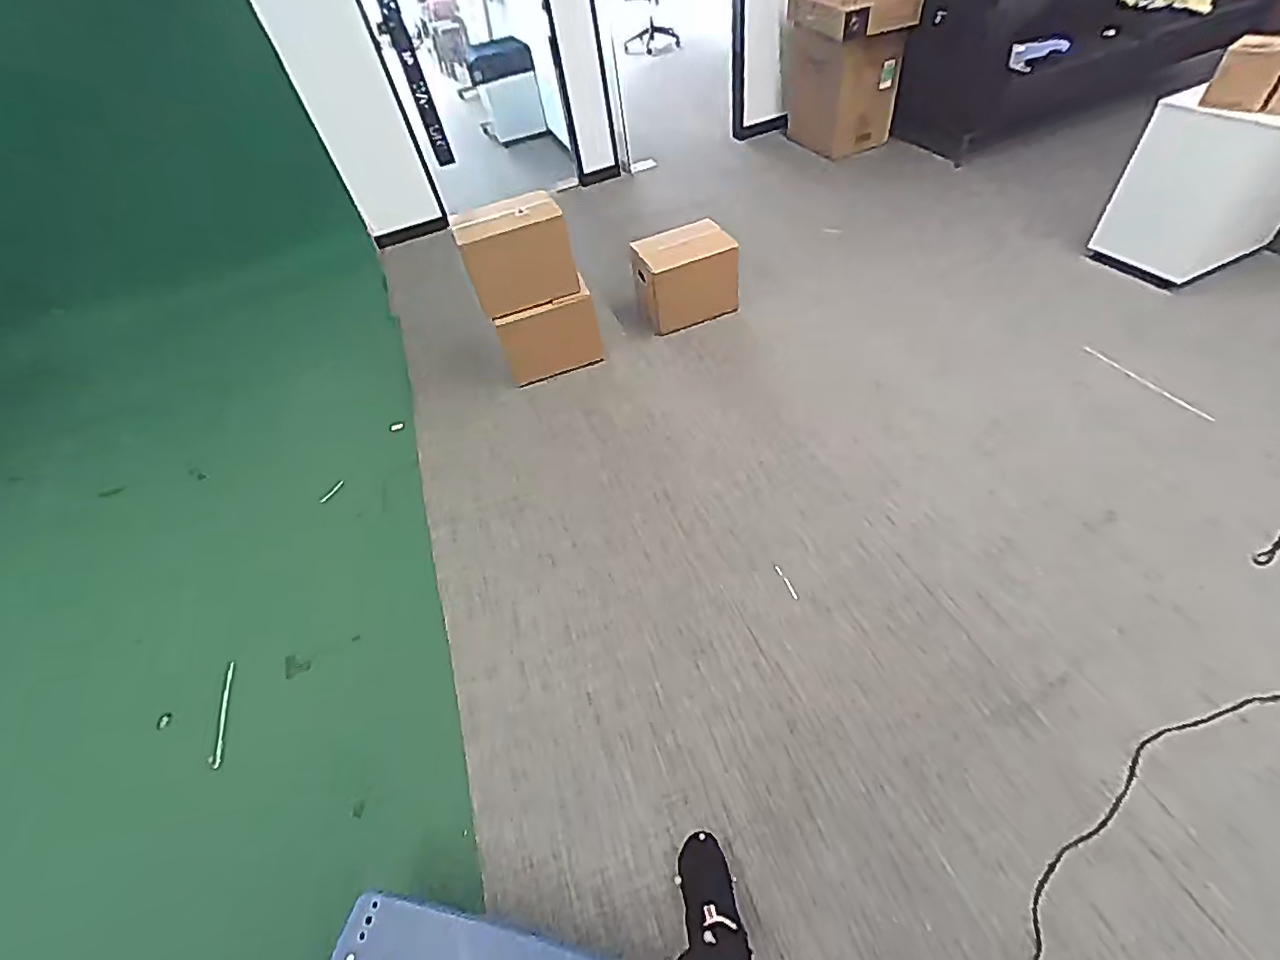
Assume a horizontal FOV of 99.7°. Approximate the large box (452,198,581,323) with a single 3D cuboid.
[{"bbox_3d":[-0.492,-0.881,2.168,0.408,0.320,0.320,-20,46,-9],"label":"large box"}]
